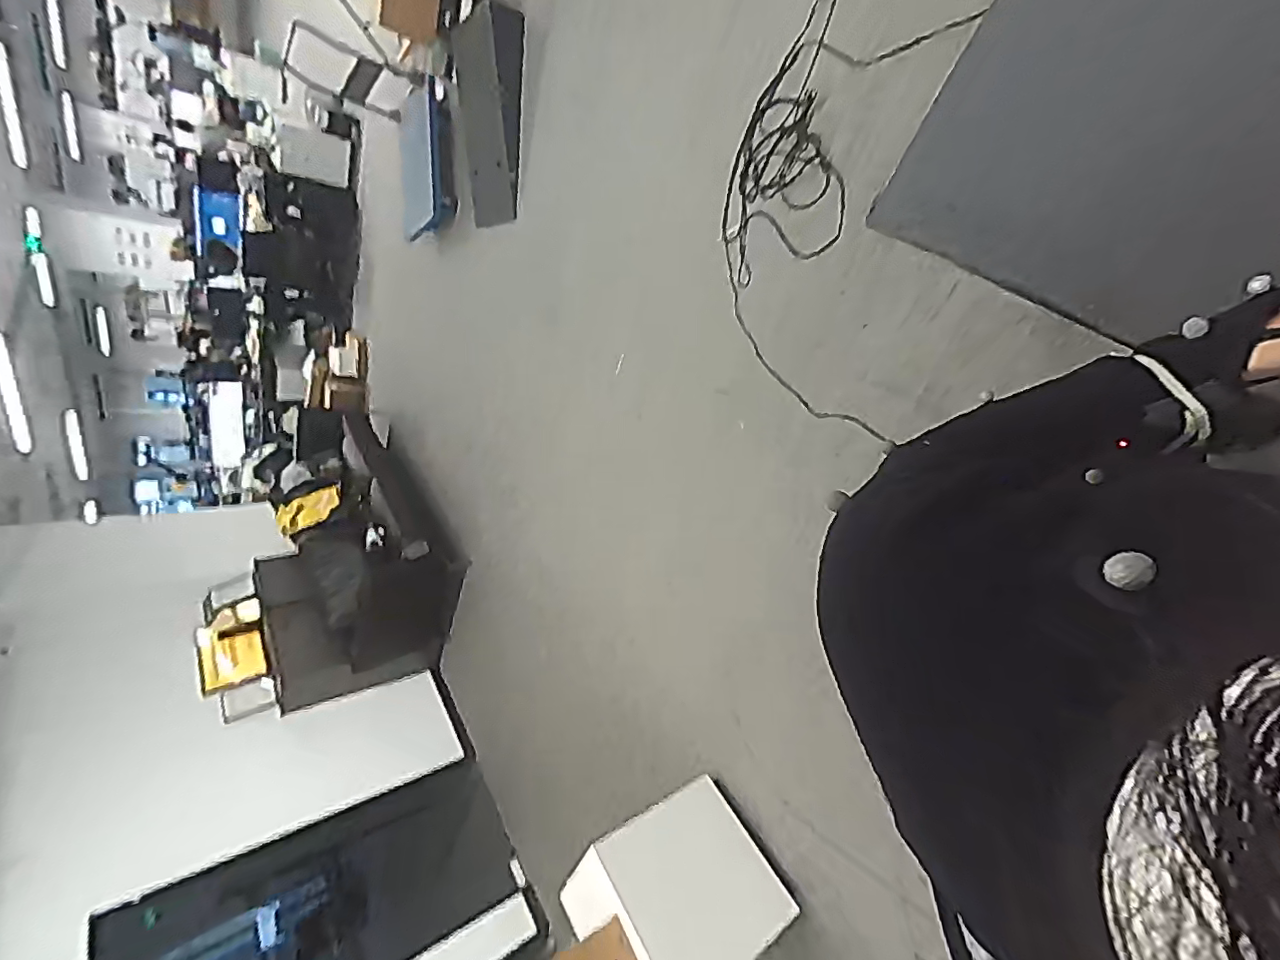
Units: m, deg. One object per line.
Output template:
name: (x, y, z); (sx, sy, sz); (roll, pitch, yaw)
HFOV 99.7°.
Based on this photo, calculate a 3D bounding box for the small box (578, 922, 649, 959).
small box: (-0.080, 1.479, 1.617); (0.168, 0.176, 0.179); (52, 131, 32)
